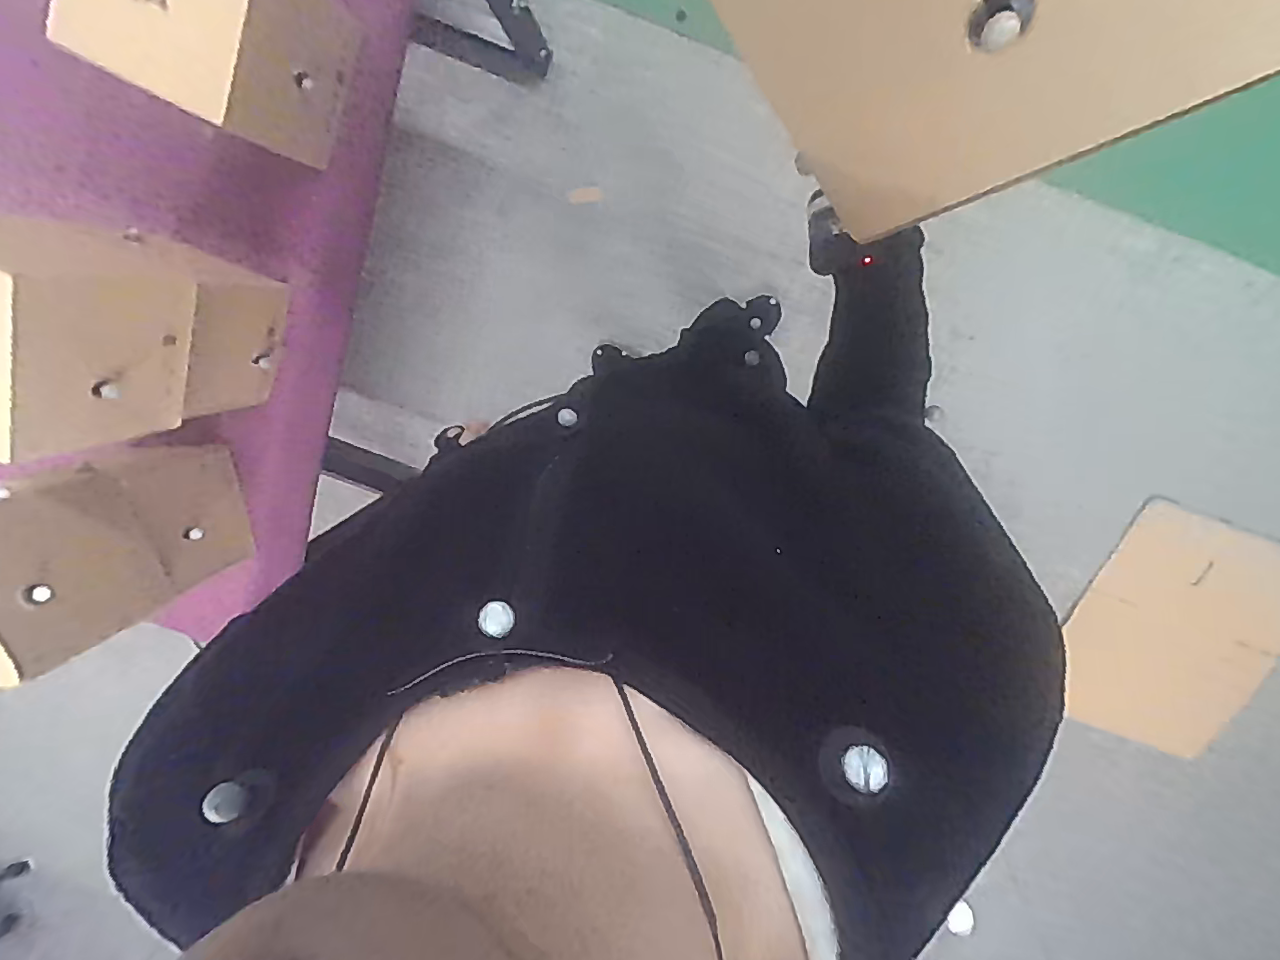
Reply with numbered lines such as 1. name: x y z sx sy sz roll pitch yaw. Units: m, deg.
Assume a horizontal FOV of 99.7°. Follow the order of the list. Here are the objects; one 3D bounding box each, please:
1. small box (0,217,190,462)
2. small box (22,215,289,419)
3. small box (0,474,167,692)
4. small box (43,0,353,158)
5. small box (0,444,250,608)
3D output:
1. small box: -0.572 -0.141 0.503 0.179 0.176 0.168 22 108 -1
2. small box: -0.578 -0.192 0.657 0.179 0.176 0.168 22 108 -3
3. small box: -0.677 0.111 0.579 0.168 0.176 0.179 -14 104 8
4. small box: -0.439 -0.469 0.565 0.179 0.176 0.168 26 106 -5
5. small box: -0.680 0.058 0.736 0.168 0.176 0.179 -3 106 4
